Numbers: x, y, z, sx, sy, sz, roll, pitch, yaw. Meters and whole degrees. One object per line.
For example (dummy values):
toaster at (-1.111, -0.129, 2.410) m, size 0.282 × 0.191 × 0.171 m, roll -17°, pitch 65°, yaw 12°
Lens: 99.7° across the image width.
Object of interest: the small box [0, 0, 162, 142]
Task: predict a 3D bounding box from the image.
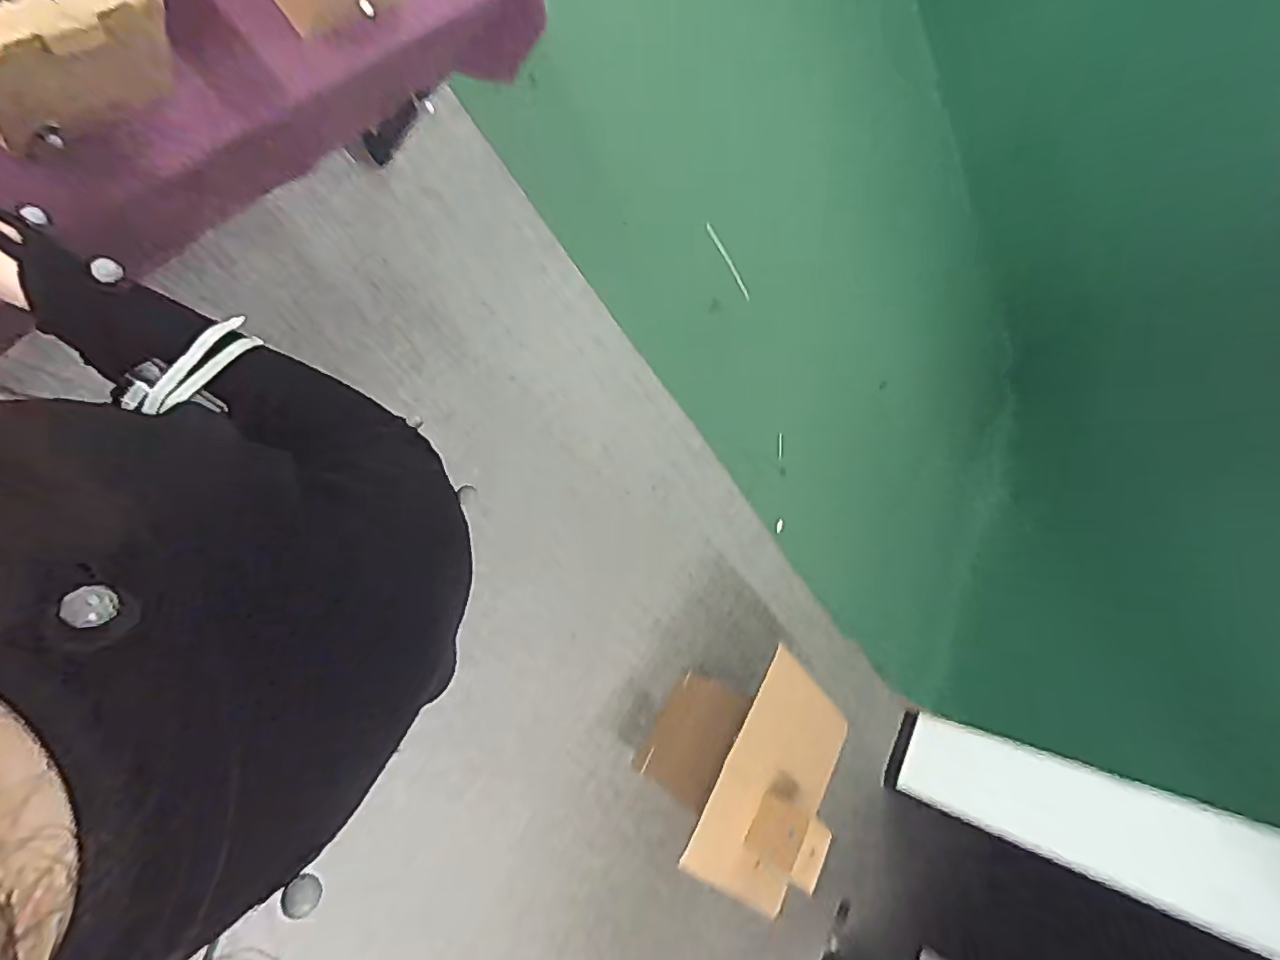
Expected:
small box at (-0.561, -0.428, 0.462) m, size 0.179 × 0.176 × 0.168 m, roll 51°, pitch 62°, yaw -27°

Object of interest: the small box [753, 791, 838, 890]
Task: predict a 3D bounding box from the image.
small box at (0.479, 1.106, 1.672) m, size 0.168 × 0.176 × 0.179 m, roll 51°, pitch 60°, yaw -28°
